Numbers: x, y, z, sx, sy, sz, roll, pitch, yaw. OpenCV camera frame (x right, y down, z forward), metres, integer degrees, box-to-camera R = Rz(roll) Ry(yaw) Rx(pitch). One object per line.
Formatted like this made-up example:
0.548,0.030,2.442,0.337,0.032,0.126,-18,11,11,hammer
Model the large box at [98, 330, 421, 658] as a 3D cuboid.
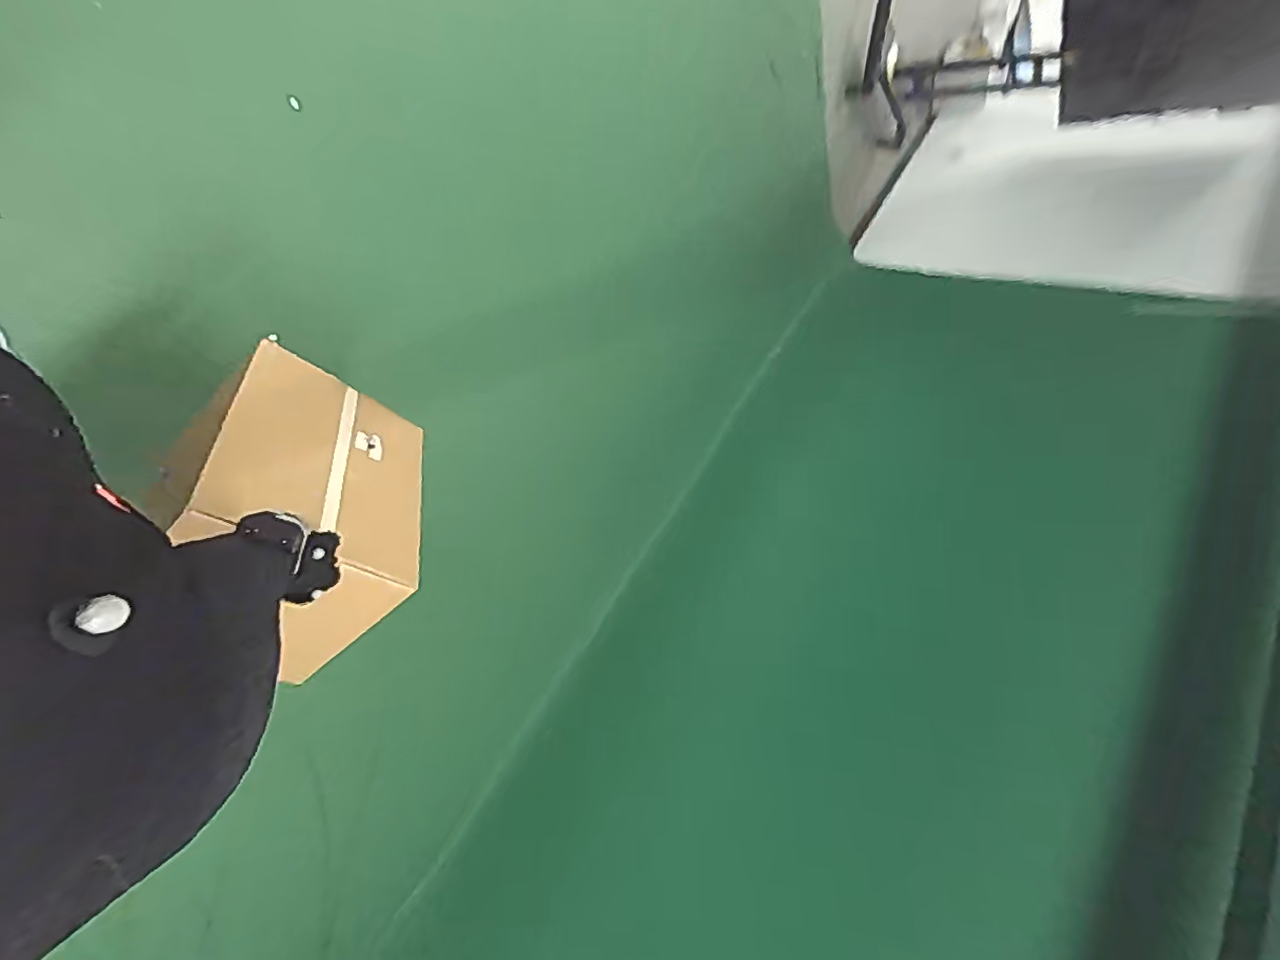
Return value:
-0.605,0.033,0.930,0.320,0.408,0.320,-37,135,17,large box
